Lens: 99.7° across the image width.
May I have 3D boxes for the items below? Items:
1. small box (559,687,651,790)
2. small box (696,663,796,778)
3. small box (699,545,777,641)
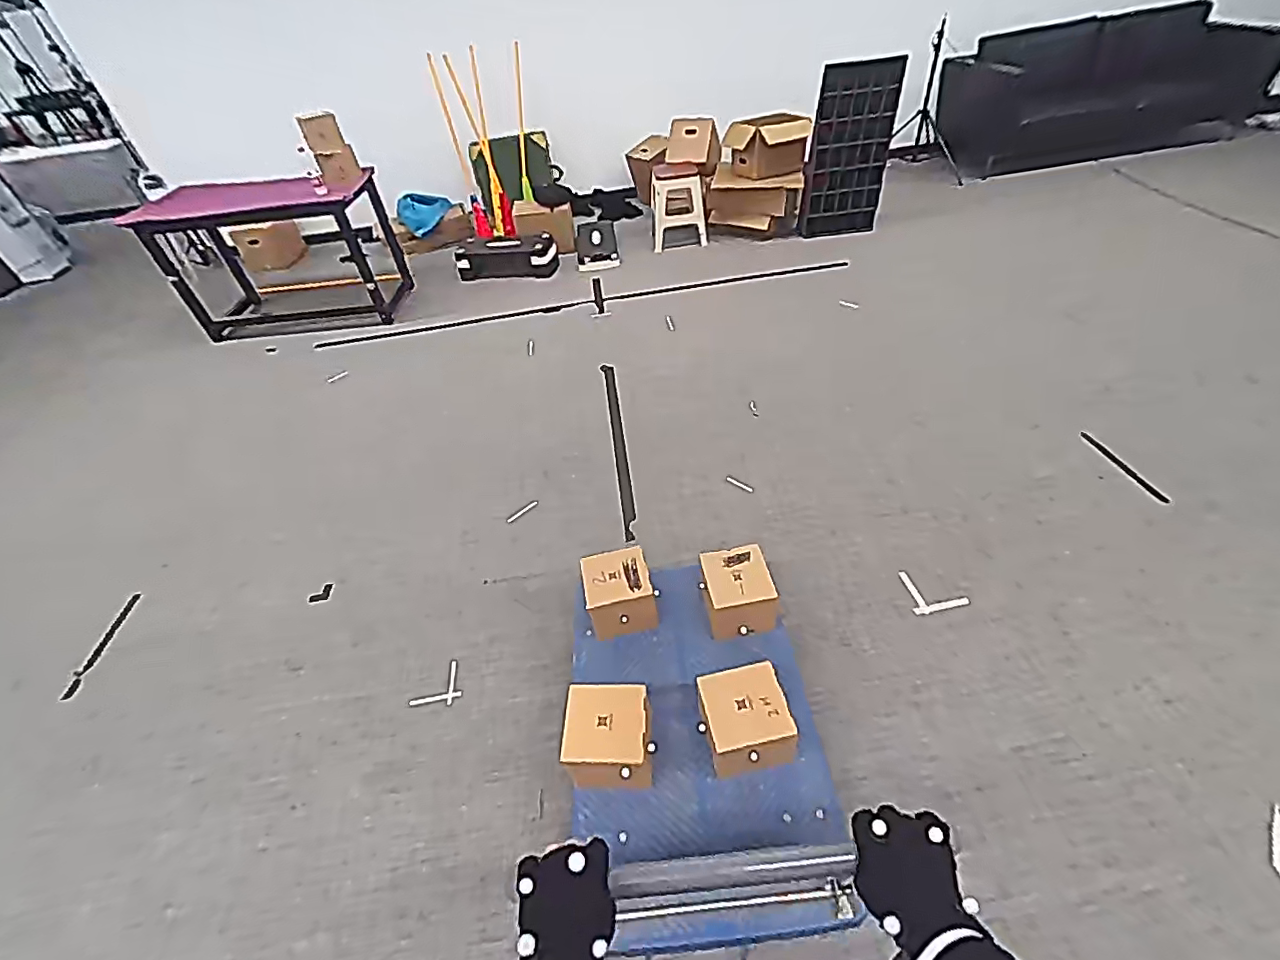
[{"bbox_3d":[-0.070,0.582,1.214,0.179,0.176,0.168,-2,44,4],"label":"small box"},{"bbox_3d":[0.232,0.541,1.210,0.179,0.176,0.168,-12,44,-4],"label":"small box"},{"bbox_3d":[0.255,0.304,1.449,0.168,0.176,0.179,-10,45,-2],"label":"small box"}]
